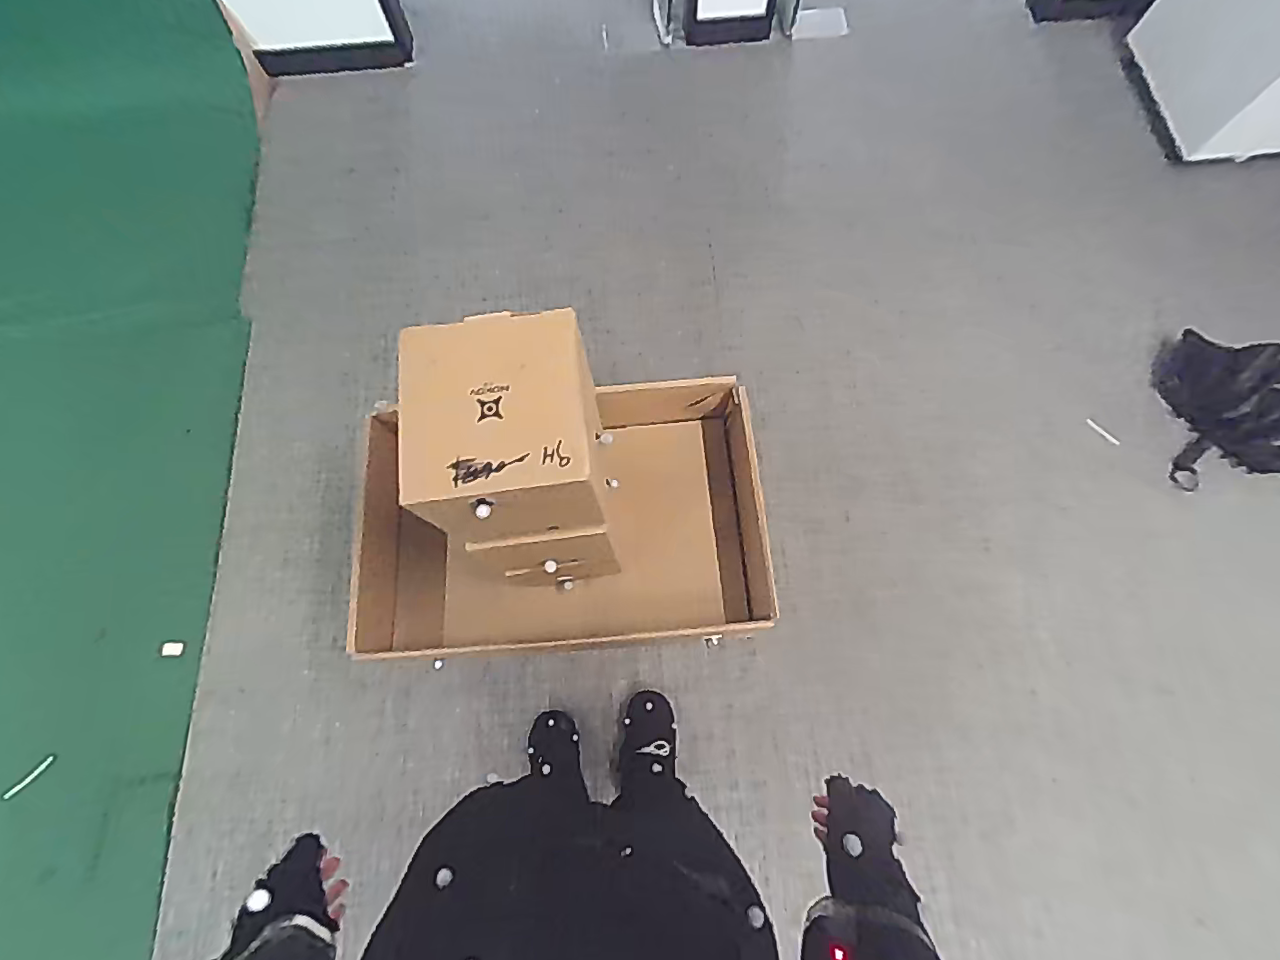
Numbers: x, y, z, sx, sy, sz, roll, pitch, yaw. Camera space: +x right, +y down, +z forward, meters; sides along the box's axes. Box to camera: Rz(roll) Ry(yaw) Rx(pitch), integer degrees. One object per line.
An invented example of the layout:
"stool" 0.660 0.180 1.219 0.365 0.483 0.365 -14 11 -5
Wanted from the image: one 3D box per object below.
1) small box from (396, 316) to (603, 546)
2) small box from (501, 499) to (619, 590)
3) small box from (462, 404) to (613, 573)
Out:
"small box" -0.134 -0.042 0.565 0.168 0.176 0.179 -8 71 0
"small box" -0.128 0.071 0.873 0.168 0.176 0.179 -9 73 -1
"small box" -0.129 0.018 0.718 0.168 0.176 0.179 -7 72 0
